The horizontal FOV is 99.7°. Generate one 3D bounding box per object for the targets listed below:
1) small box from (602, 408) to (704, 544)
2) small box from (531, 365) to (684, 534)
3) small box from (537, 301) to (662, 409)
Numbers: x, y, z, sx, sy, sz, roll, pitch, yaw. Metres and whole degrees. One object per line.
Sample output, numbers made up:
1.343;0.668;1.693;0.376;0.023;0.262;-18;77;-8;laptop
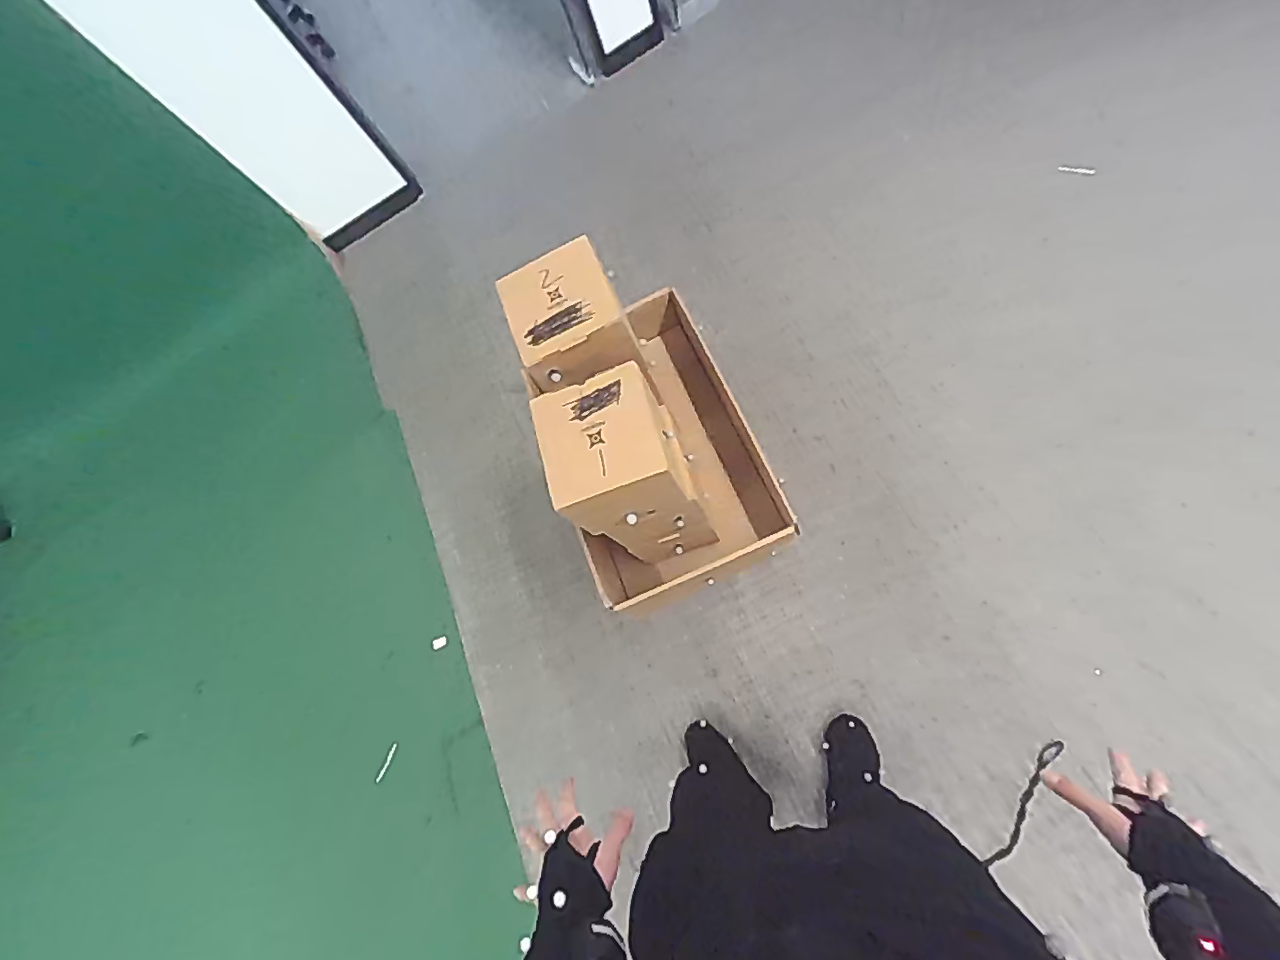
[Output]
0.006;0.005;0.963;0.168;0.176;0.179;-19;68;8;small box
-0.043;-0.037;0.813;0.168;0.176;0.179;-19;69;9;small box
-0.074;-0.206;1.058;0.168;0.176;0.179;-26;70;6;small box
